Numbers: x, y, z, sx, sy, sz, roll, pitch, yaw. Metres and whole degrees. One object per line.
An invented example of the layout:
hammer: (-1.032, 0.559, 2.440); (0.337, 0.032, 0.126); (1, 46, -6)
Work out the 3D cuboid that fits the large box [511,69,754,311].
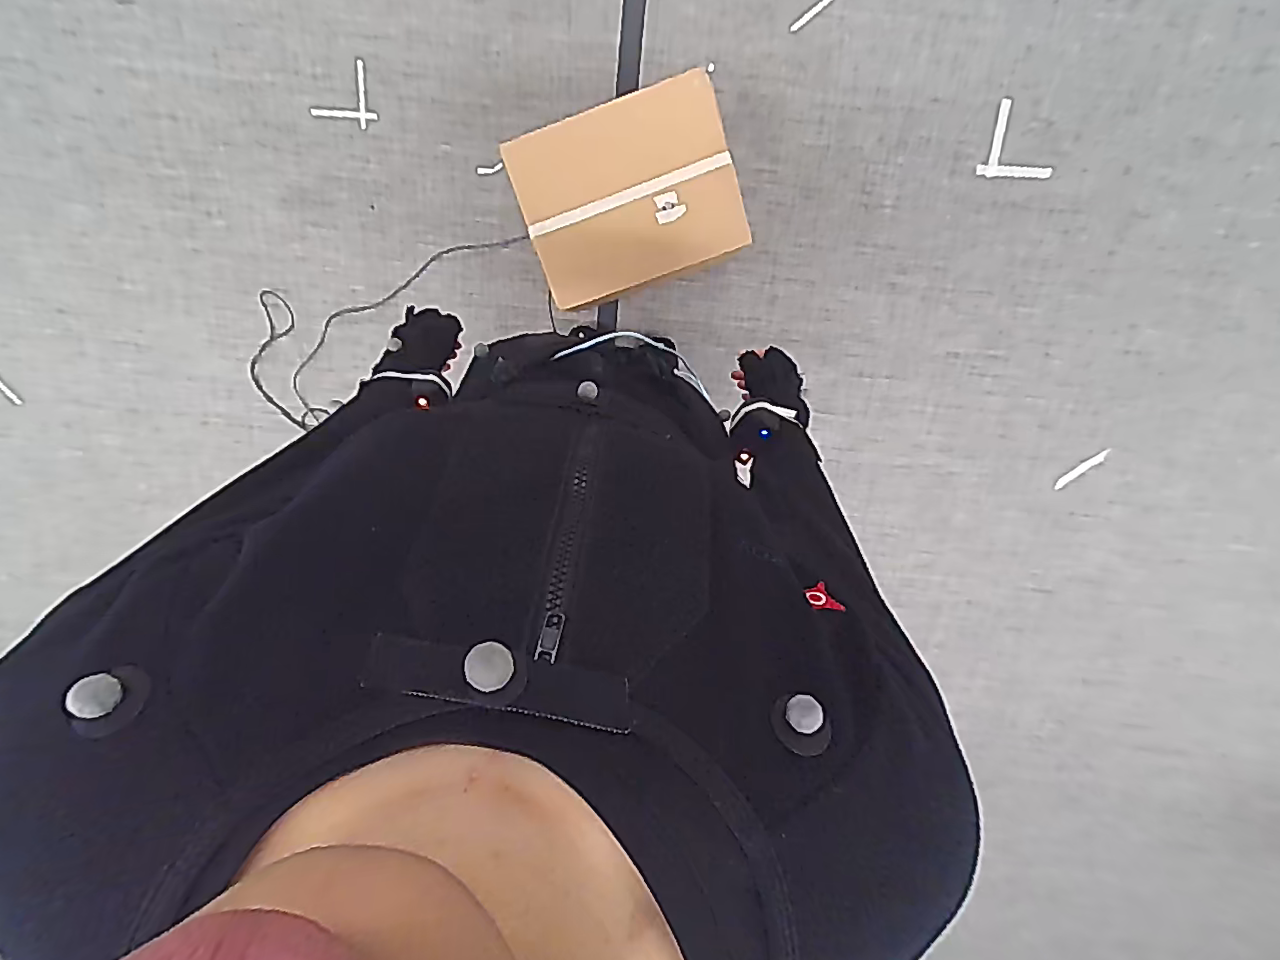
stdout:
large box: (-0.012, -0.585, 1.174); (0.408, 0.320, 0.320); (-17, 107, 5)
